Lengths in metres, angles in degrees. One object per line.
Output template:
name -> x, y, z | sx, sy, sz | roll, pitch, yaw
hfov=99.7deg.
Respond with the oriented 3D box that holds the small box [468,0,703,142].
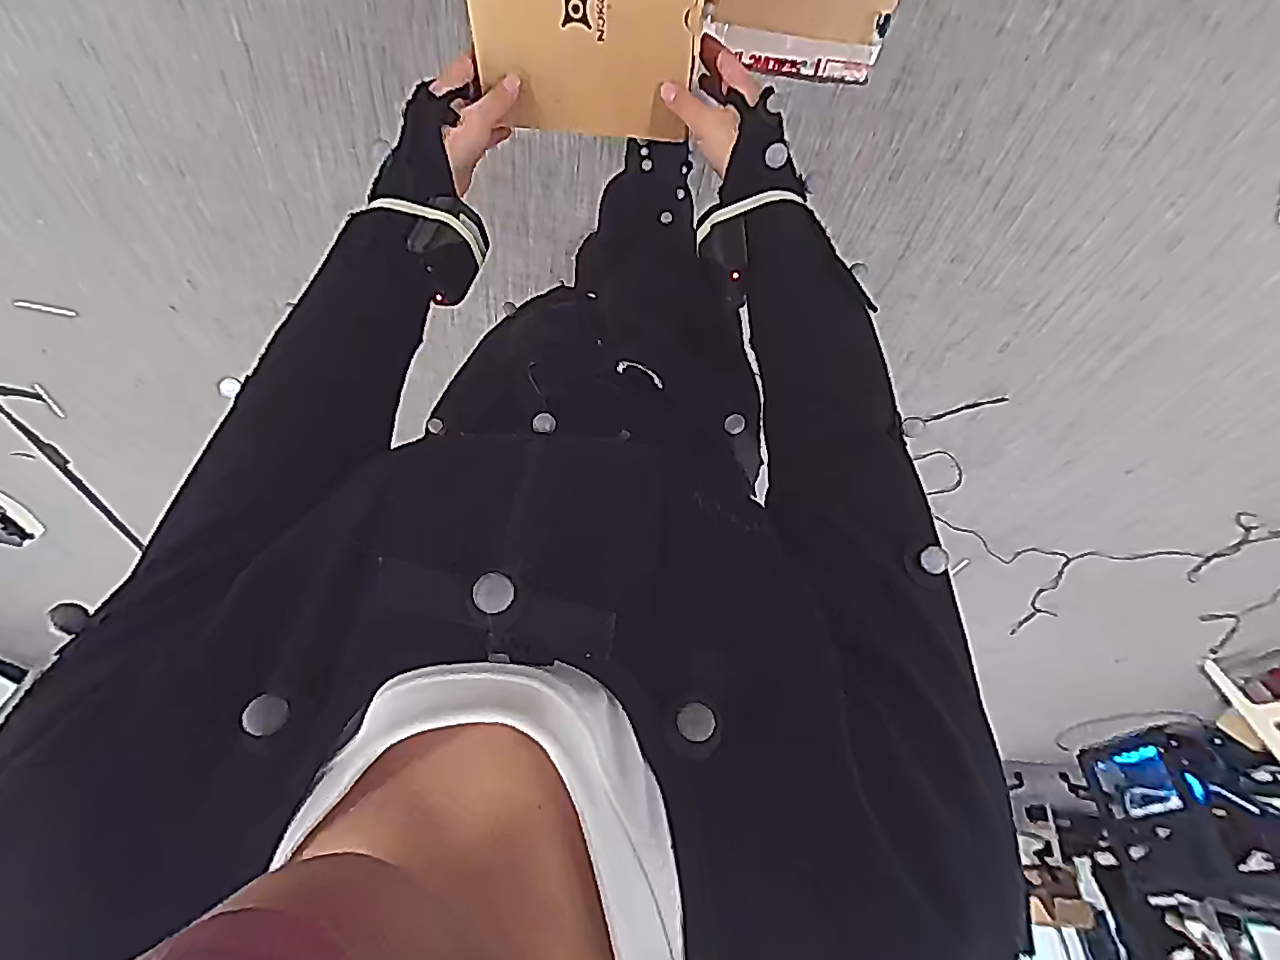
small box -> -0.035, -0.411, 0.450 | 0.179, 0.176, 0.168 | 6, 142, 1
